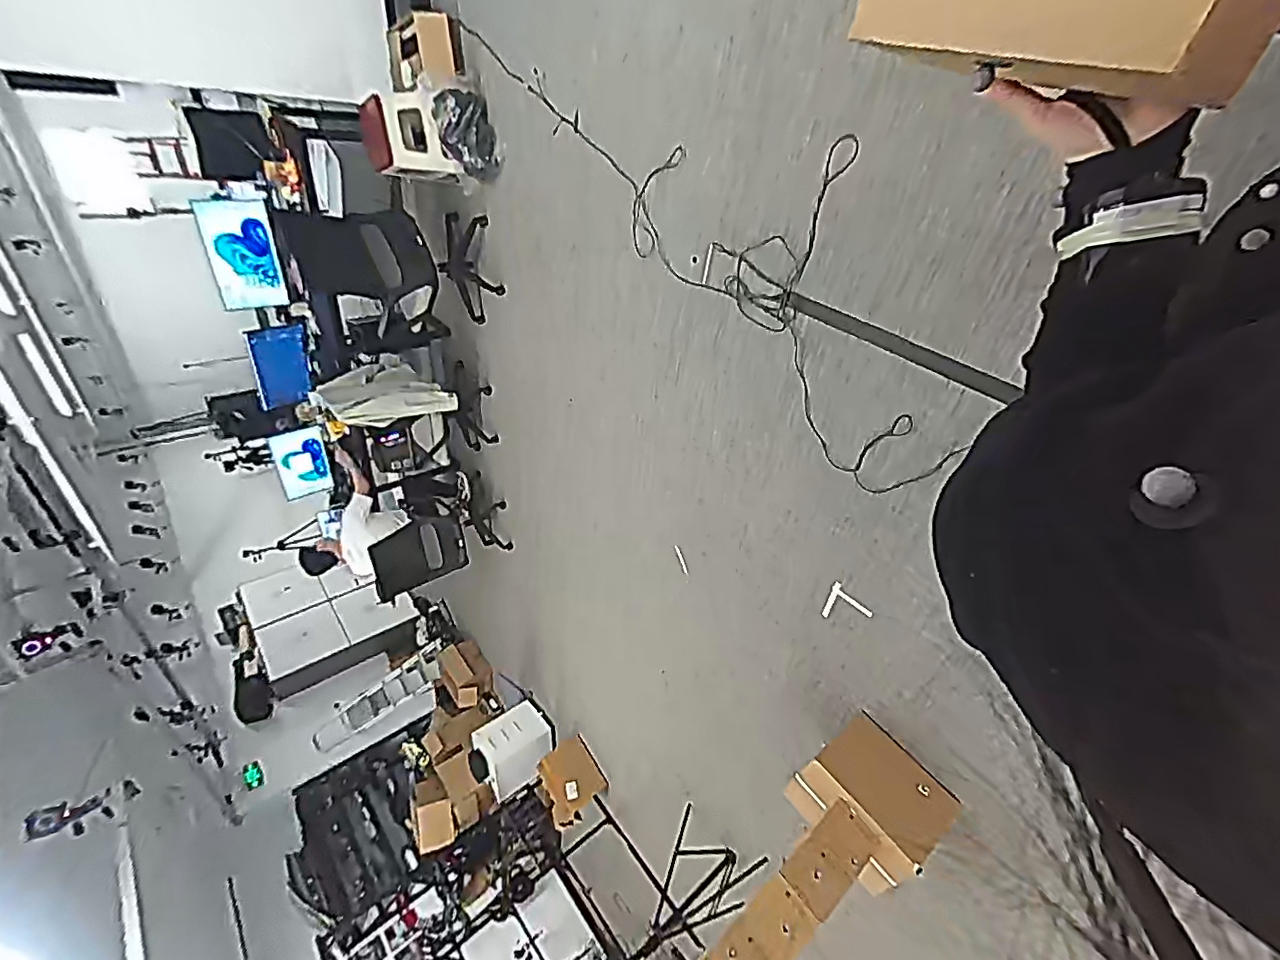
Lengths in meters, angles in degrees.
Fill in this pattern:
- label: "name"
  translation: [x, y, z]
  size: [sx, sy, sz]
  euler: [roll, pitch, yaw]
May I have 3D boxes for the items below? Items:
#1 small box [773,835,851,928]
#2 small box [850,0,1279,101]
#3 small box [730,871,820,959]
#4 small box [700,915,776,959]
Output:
- label: "small box"
  translation: [0.516, 1.237, 1.658]
  size: [0.168, 0.176, 0.179]
  euler: [44, 138, 31]
- label: "small box"
  translation: [0.256, -0.316, 0.286]
  size: [0.179, 0.176, 0.168]
  euler: [41, 137, 34]
- label: "small box"
  translation: [0.392, 1.284, 1.564]
  size: [0.168, 0.176, 0.179]
  euler: [41, 138, 32]
- label: "small box"
  translation: [0.268, 1.339, 1.474]
  size: [0.168, 0.176, 0.179]
  euler: [42, 139, 33]
